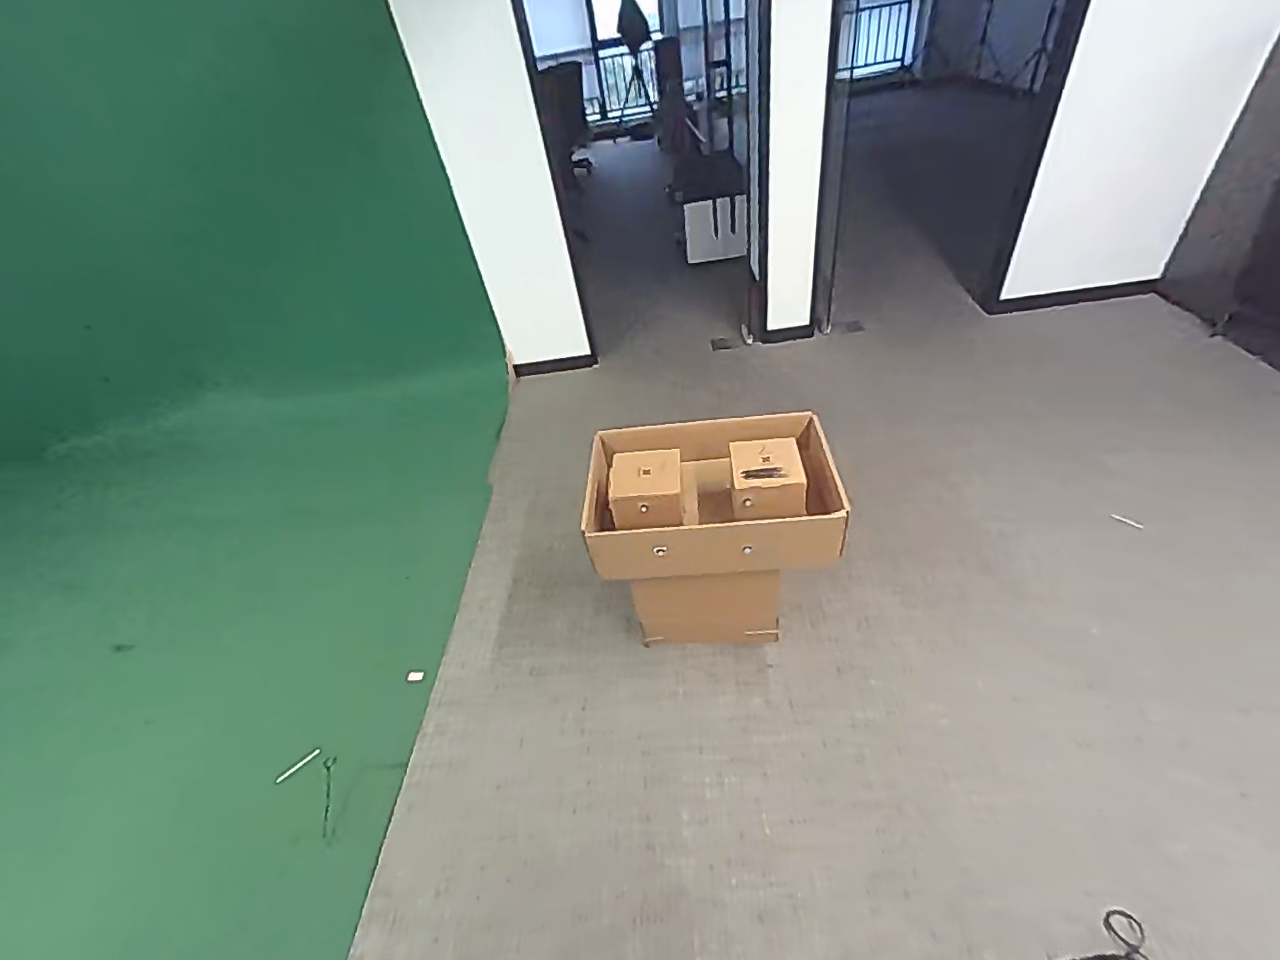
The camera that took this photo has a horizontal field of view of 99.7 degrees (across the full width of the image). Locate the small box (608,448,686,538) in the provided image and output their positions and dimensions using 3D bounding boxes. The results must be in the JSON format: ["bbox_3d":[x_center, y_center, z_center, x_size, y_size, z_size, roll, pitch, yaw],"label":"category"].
[{"bbox_3d":[0.024,0.037,1.398,0.179,0.176,0.168,-3,43,8],"label":"small box"}]
